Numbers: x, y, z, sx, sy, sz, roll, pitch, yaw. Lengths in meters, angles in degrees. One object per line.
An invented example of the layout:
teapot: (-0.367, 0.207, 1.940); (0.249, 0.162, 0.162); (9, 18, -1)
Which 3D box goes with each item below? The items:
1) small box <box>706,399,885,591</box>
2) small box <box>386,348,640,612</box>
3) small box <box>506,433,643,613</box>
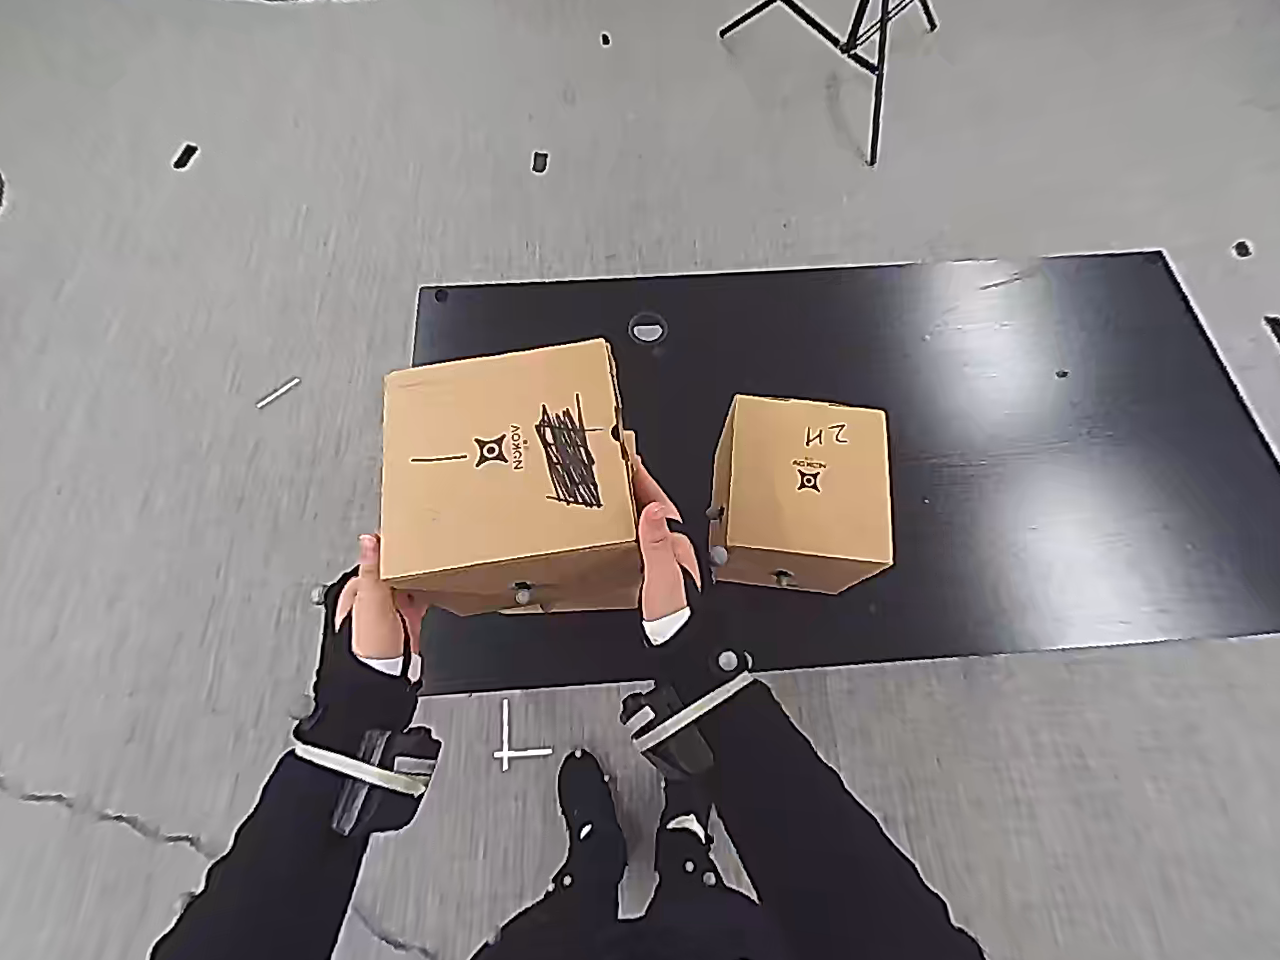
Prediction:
small box: (0.173, 0.027, 0.644); (0.168, 0.176, 0.179); (6, 67, 2)
small box: (-0.096, 0.012, 0.470); (0.179, 0.176, 0.168); (-9, 68, -2)
small box: (-0.088, 0.058, 0.630); (0.179, 0.176, 0.168); (-3, 68, -1)
